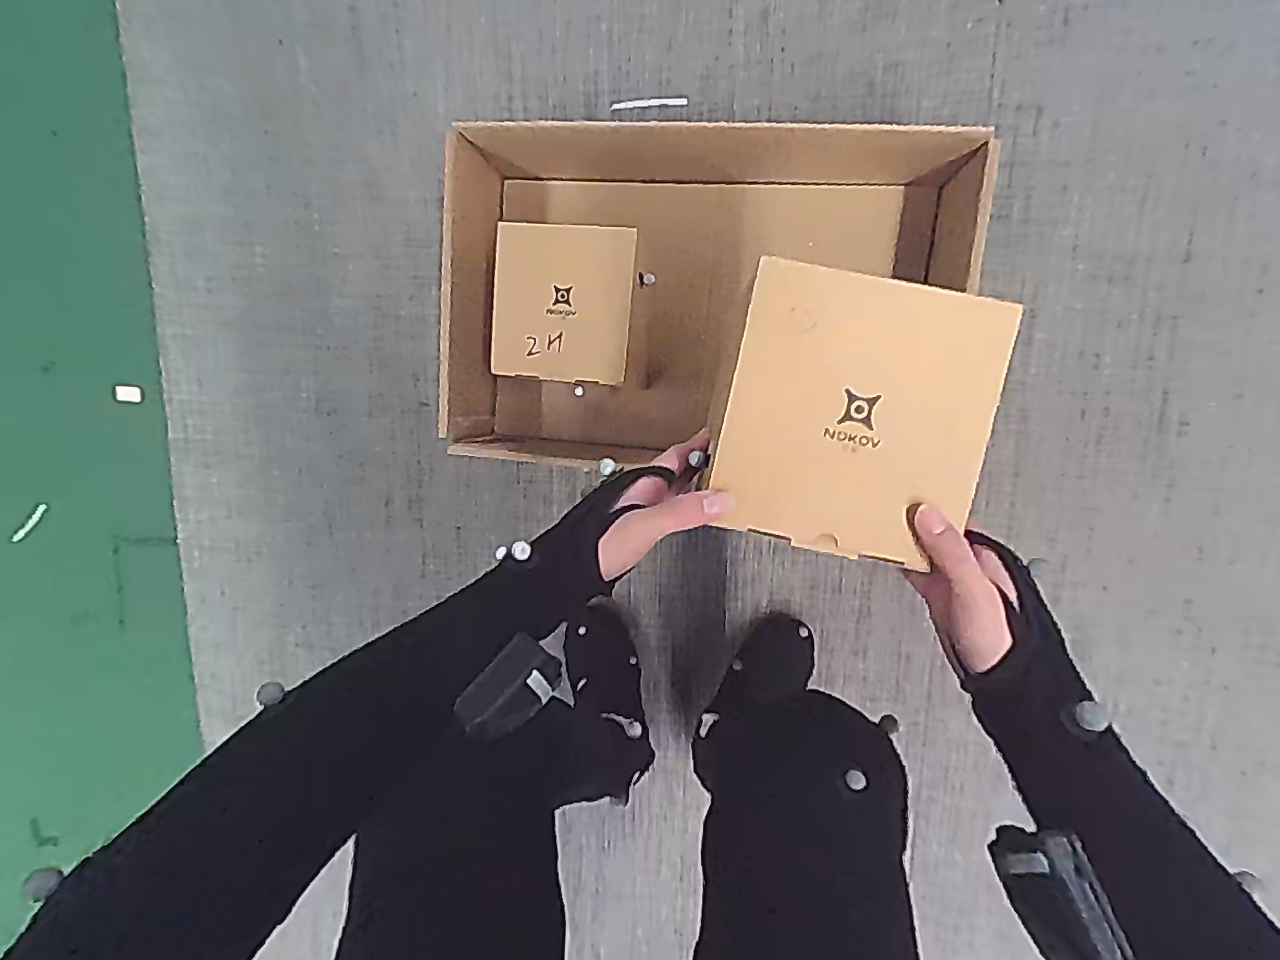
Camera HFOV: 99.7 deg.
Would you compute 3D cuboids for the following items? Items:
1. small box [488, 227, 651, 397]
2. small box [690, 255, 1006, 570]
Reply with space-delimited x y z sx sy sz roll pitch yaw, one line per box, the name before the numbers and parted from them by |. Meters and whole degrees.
small box | -0.081 -0.206 0.700 0.168 0.176 0.179 6 98 8
small box | 0.137 -0.048 0.427 0.168 0.176 0.179 12 95 1
